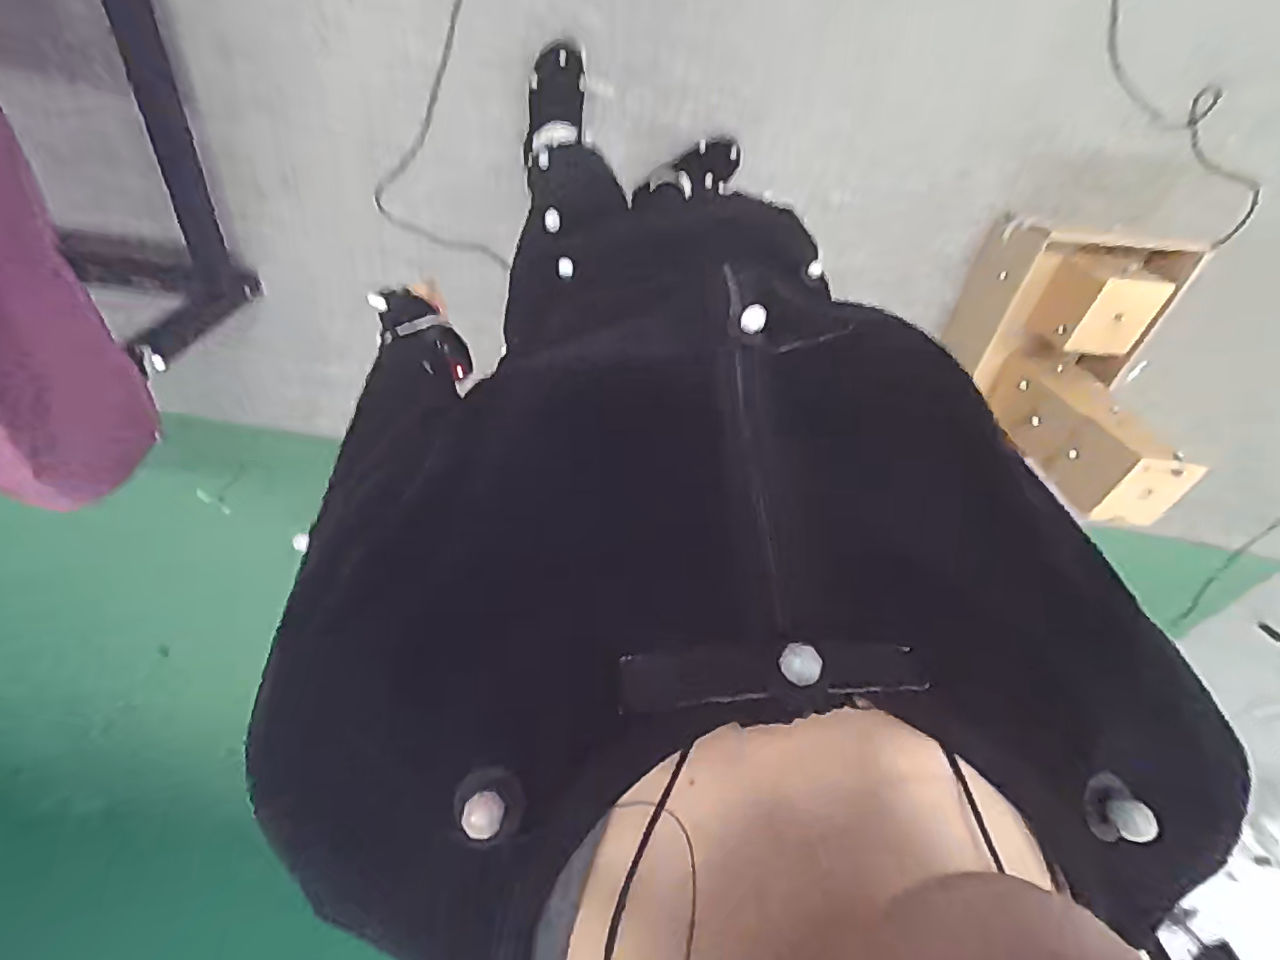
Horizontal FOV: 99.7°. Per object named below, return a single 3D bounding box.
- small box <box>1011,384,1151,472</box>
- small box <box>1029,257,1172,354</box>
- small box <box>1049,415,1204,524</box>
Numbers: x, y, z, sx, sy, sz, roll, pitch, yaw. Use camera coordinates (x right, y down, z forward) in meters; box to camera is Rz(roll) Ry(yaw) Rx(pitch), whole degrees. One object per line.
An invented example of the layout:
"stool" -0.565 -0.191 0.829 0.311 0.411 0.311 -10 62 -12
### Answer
"small box" 1.102 -0.129 1.369 0.179 0.176 0.168 4 129 -5
"small box" 1.112 -0.432 1.327 0.168 0.176 0.179 3 131 -4
"small box" 1.094 -0.025 1.241 0.168 0.176 0.179 7 130 -8
